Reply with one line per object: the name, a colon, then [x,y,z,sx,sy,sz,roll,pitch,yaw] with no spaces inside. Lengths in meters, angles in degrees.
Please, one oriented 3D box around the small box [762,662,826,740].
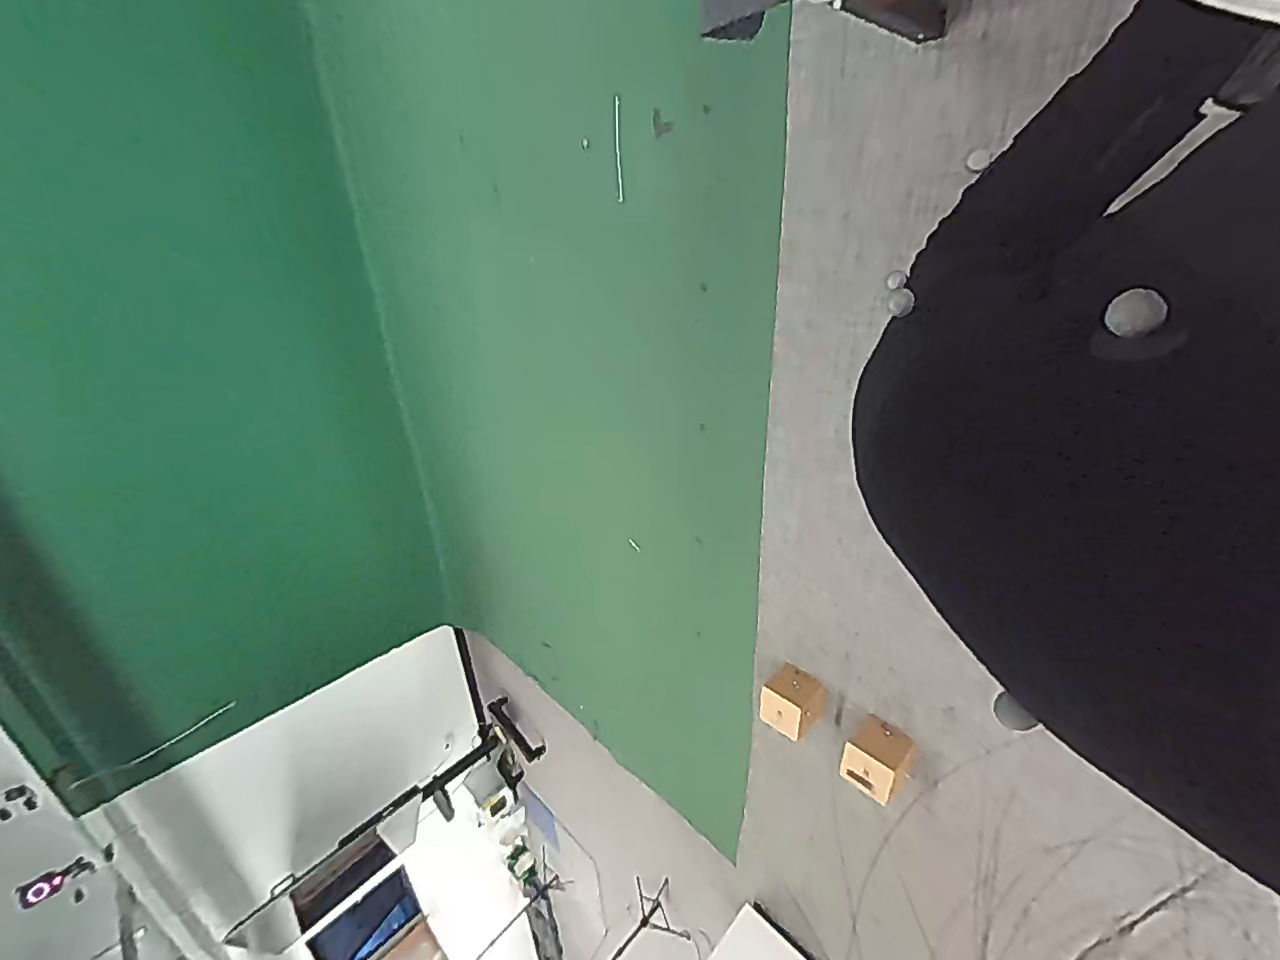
small box: [0.585,0.830,2.049,0.168,0.176,0.179,22,125,41]
